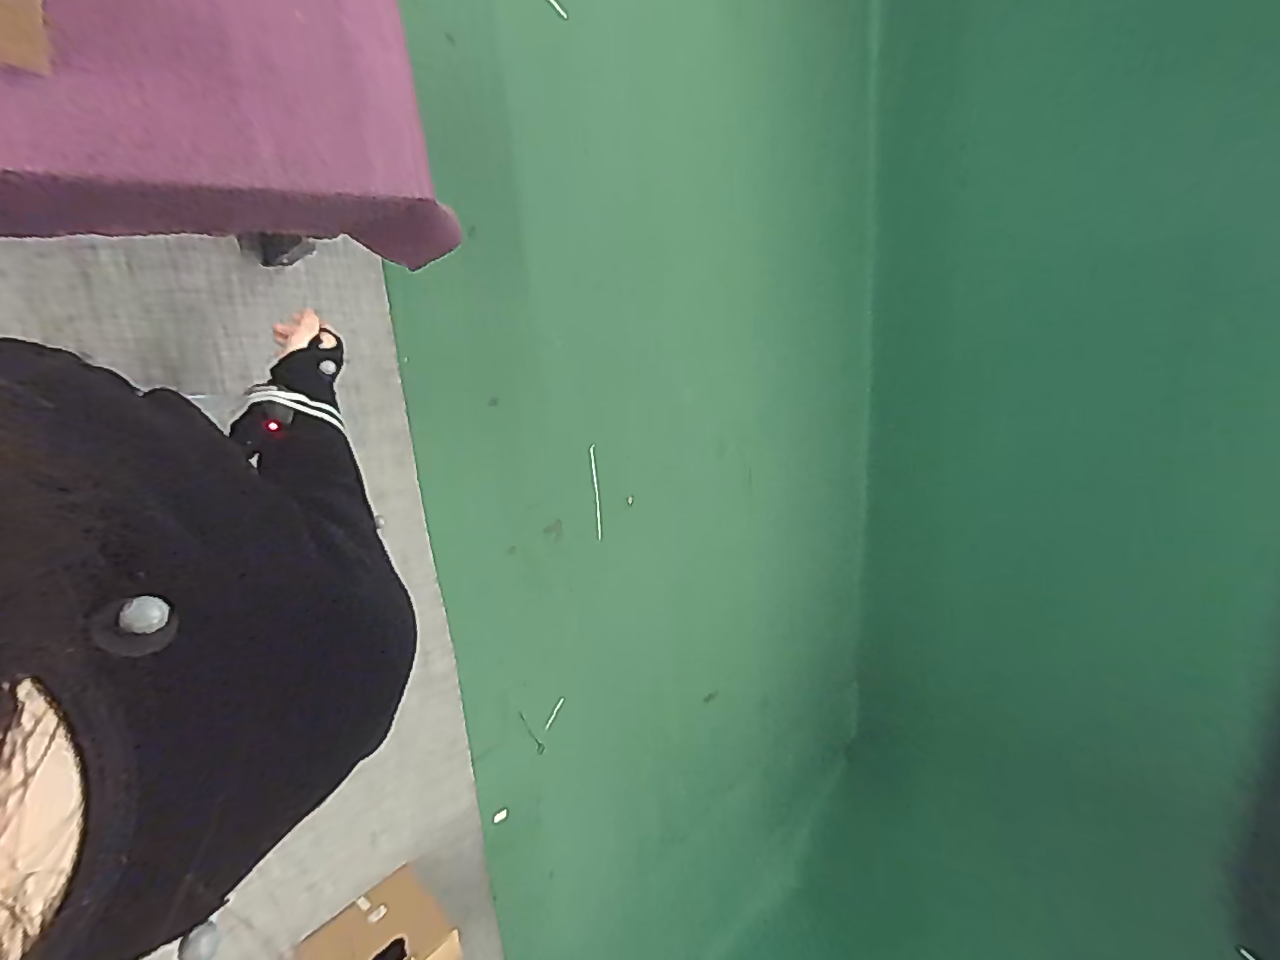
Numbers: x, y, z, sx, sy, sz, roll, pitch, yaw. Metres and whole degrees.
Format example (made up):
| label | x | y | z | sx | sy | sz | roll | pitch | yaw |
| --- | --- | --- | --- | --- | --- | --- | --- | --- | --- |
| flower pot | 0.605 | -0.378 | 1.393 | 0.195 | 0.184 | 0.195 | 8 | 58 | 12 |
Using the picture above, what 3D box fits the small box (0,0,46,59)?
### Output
| label | x | y | z | sx | sy | sz | roll | pitch | yaw |
| --- | --- | --- | --- | --- | --- | --- | --- | --- | --- |
| small box | -0.575 | -0.448 | 0.389 | 0.168 | 0.176 | 0.179 | -21 | 112 | -42 |
